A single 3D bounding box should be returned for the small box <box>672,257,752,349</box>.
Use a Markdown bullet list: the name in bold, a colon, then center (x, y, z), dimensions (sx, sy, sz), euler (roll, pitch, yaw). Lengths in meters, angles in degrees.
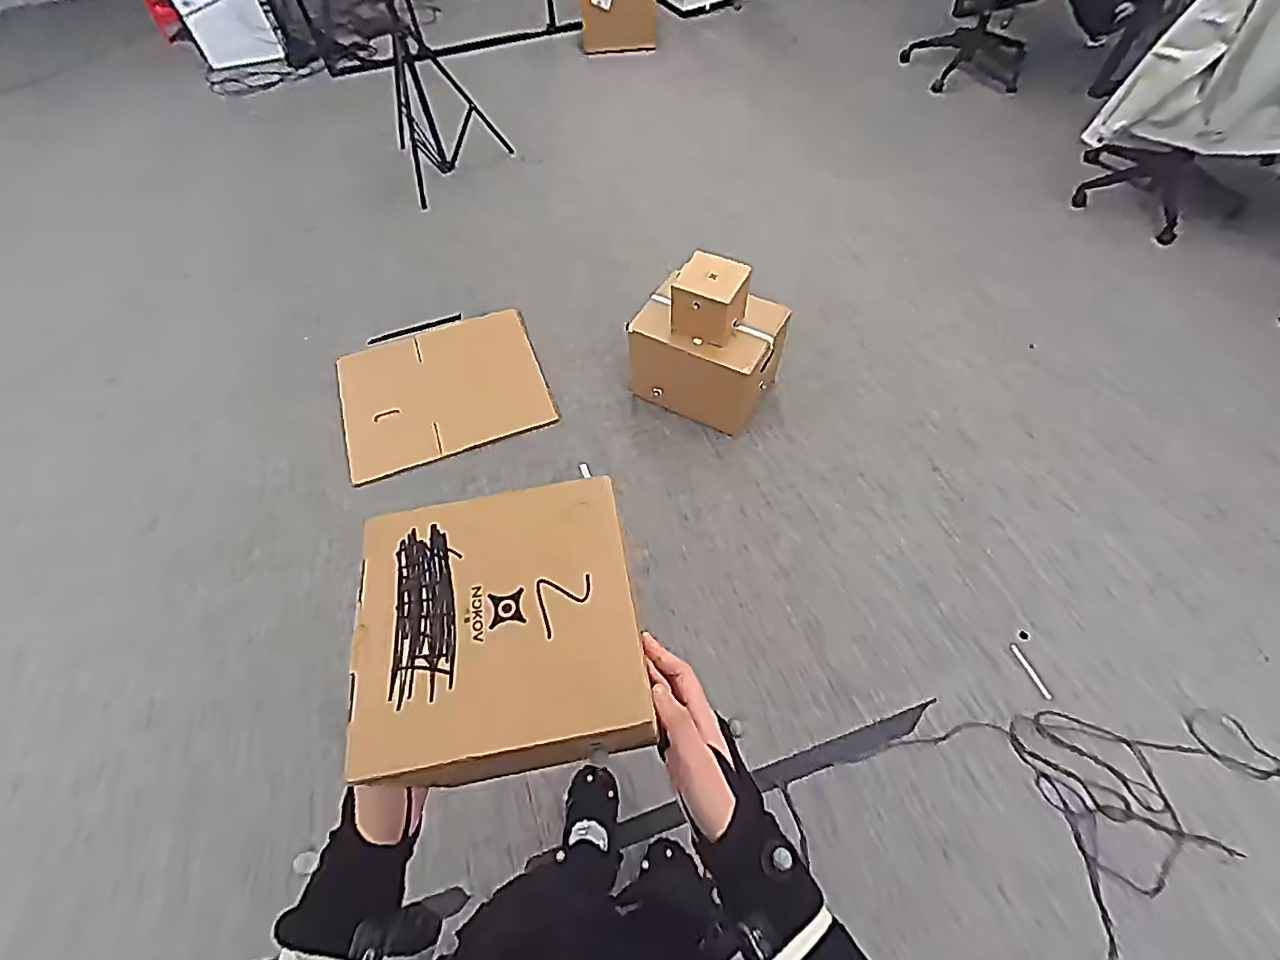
- **small box**: center (0.202, -0.508, 1.564), dimensions (0.179, 0.176, 0.168), euler (24, 64, 15)
